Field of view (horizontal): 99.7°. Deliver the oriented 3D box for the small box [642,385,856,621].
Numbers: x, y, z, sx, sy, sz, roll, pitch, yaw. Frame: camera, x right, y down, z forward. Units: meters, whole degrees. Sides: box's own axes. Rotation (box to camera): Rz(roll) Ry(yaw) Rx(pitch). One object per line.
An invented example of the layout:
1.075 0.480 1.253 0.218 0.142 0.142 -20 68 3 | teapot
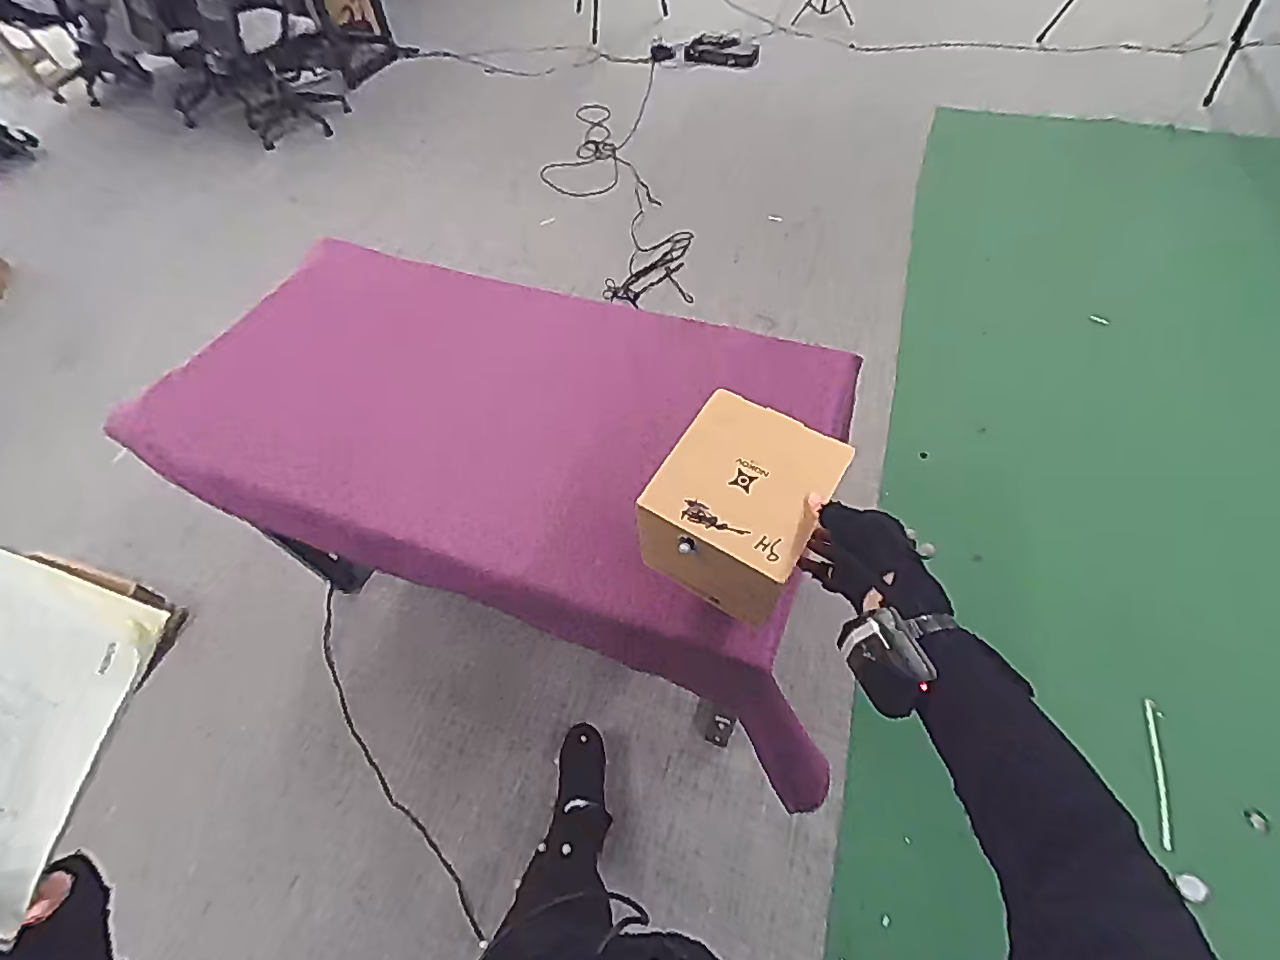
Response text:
0.115 0.032 0.623 0.168 0.176 0.179 29 65 18 | small box
